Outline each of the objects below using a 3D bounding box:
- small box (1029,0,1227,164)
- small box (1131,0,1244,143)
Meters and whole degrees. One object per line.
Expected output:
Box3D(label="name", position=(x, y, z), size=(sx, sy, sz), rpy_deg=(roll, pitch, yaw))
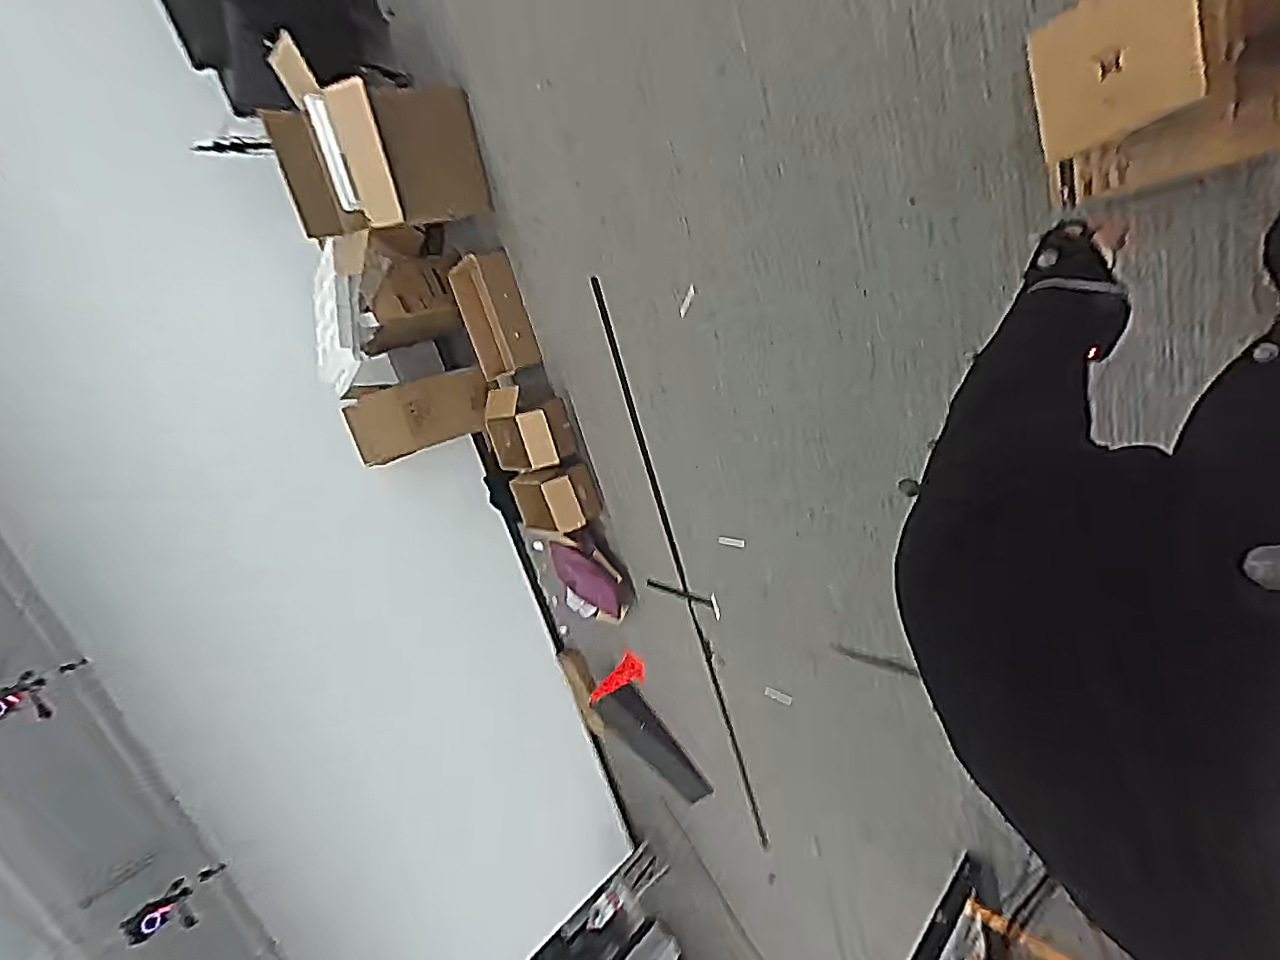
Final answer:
Box3D(label="small box", position=(0.671, -0.564, 0.743), size=(0.168, 0.176, 0.179), rpy_deg=(-4, 110, 54))
Box3D(label="small box", position=(0.794, -0.626, 0.831), size=(0.168, 0.176, 0.179), rpy_deg=(7, 118, 51))
